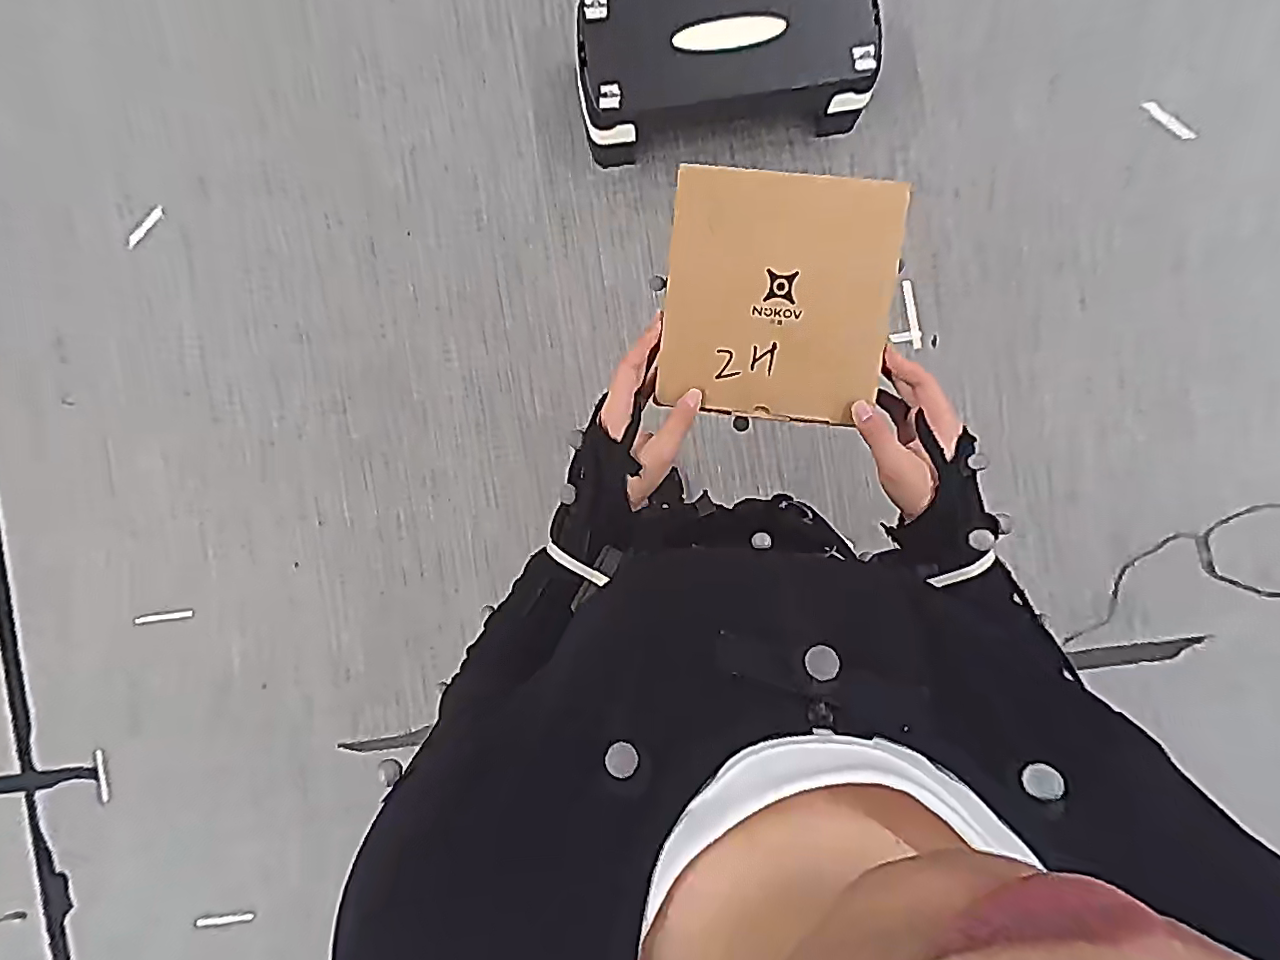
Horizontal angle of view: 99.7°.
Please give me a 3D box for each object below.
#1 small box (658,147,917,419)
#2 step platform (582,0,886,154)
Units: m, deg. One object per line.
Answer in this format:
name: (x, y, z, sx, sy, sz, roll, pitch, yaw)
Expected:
small box: (0.109, -0.151, 0.470, 0.168, 0.176, 0.179, 7, 98, 3)
step platform: (0.208, -1.001, 1.267, 0.684, 0.204, 0.286, -8, 90, 2)
